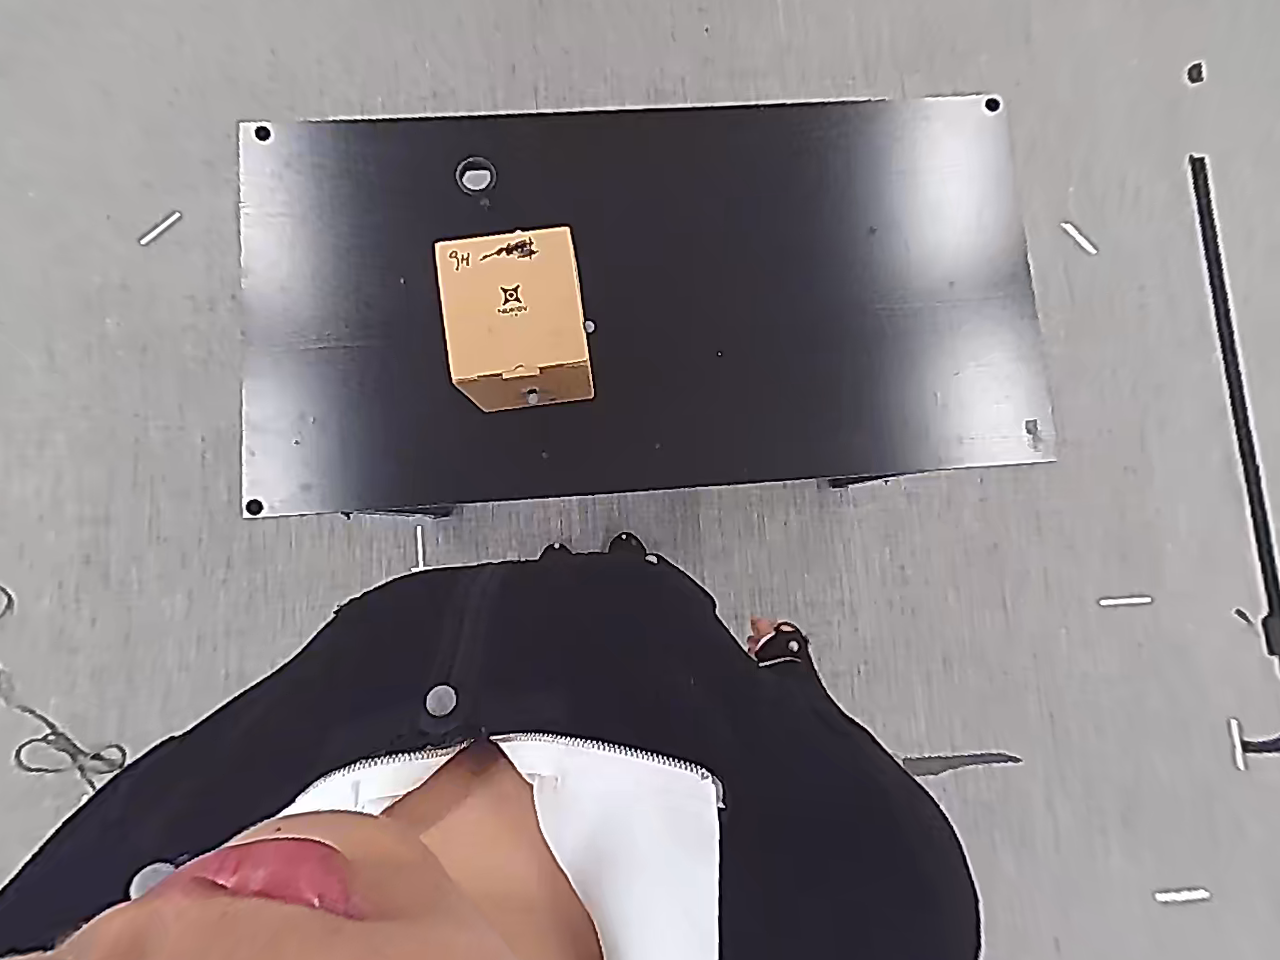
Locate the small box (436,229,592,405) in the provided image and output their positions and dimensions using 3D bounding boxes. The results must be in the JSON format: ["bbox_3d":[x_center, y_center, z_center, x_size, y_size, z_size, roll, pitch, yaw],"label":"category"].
[{"bbox_3d":[-0.159,-0.206,0.733,0.168,0.176,0.179,-8,85,-3],"label":"small box"}]
